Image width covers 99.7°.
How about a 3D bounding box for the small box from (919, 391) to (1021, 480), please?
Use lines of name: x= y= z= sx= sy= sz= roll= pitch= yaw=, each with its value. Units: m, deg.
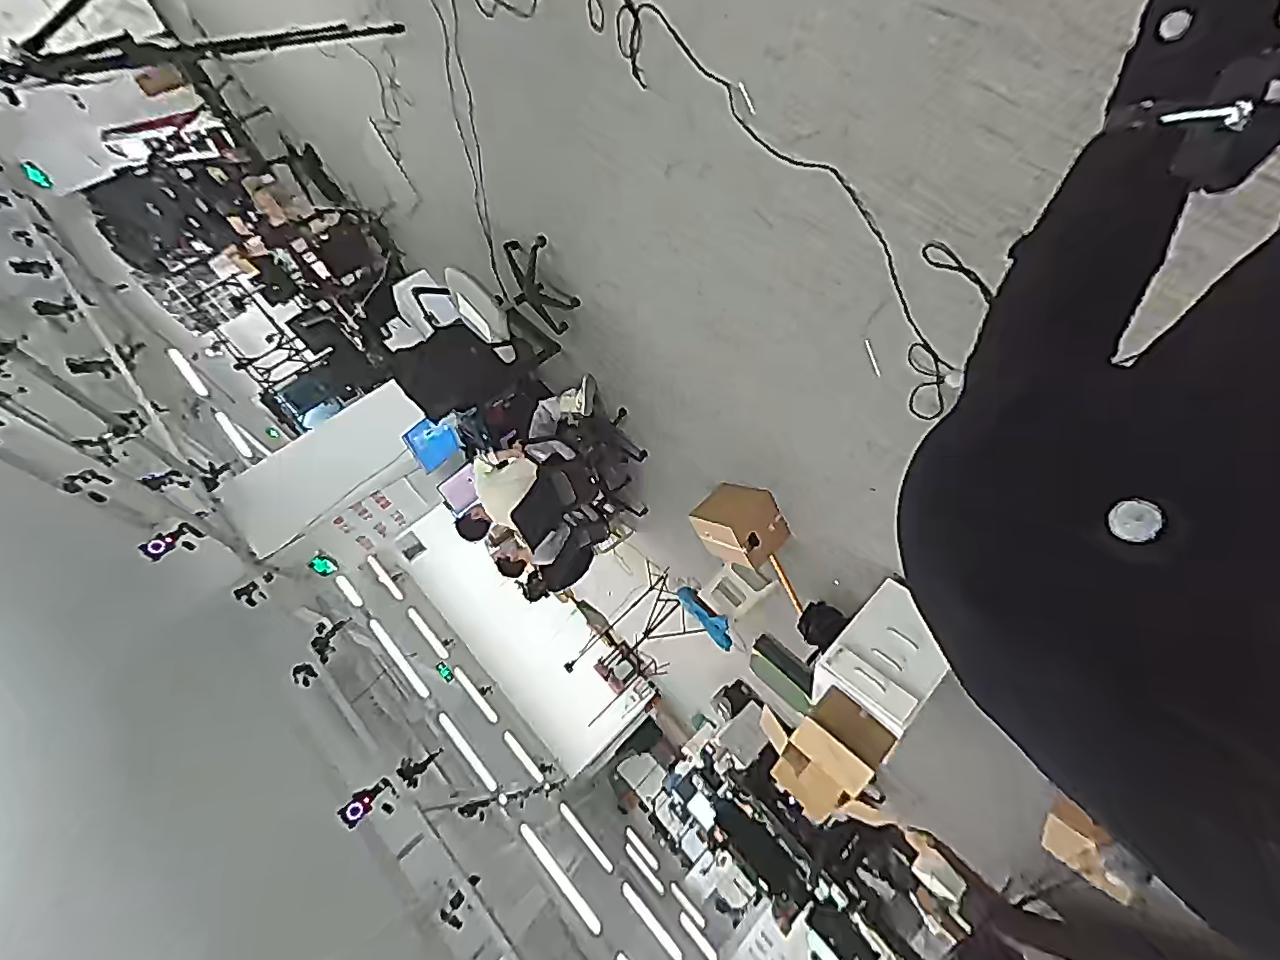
small box: x=1.003 y=-0.139 z=1.643 sx=0.179 sy=0.176 sz=0.168 roll=40 pitch=158 yaw=20
